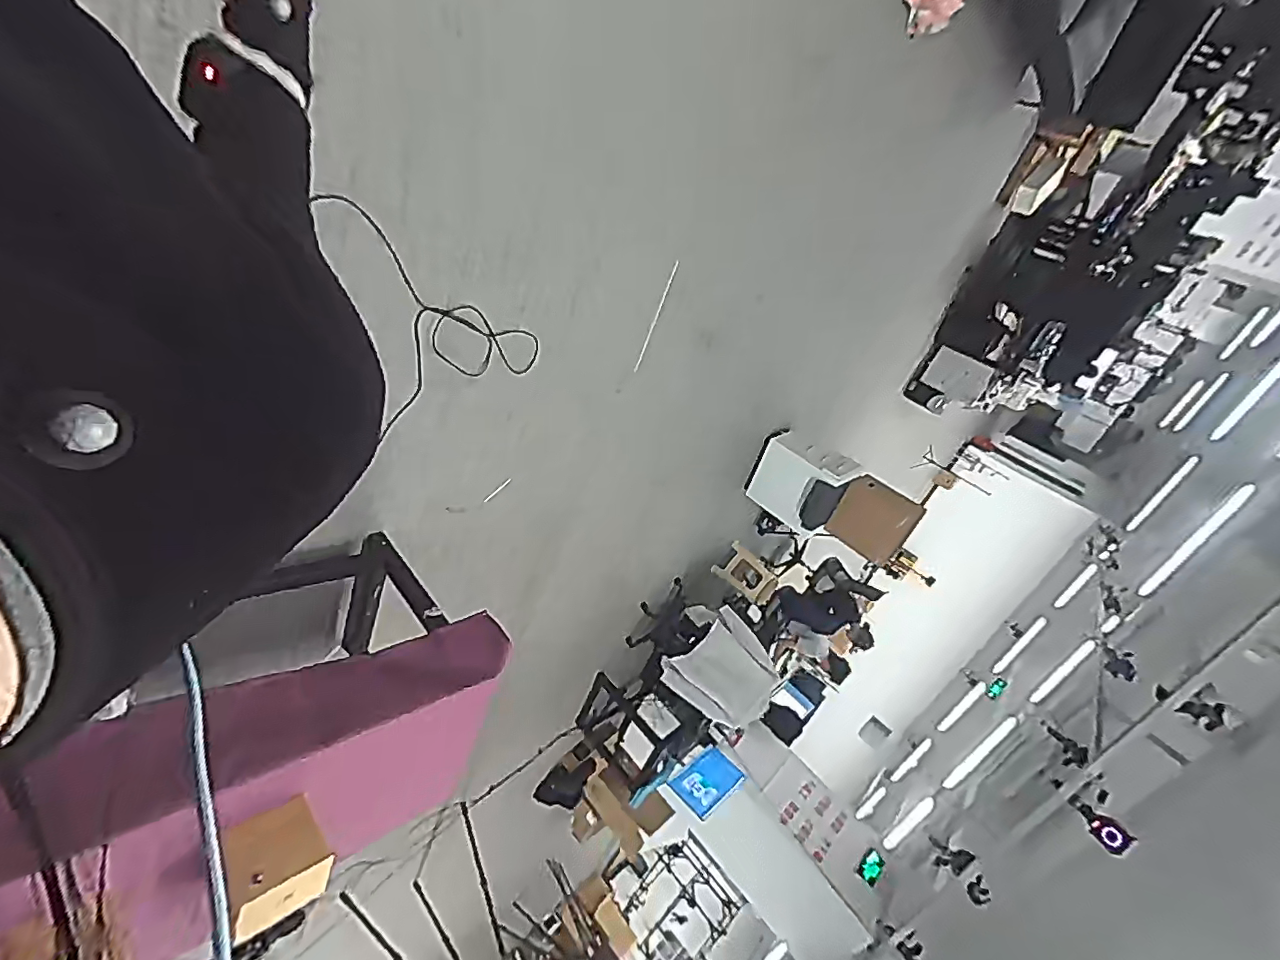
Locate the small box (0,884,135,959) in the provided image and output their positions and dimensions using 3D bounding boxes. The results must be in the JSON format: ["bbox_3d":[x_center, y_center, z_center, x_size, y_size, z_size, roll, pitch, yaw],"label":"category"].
[{"bbox_3d":[-1.002,0.858,0.932,0.179,0.176,0.168,-11,132,-48],"label":"small box"}]

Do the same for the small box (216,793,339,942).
[{"bbox_3d":[-0.796,0.835,1.185,0.179,0.176,0.168,-6,128,-49],"label":"small box"}]
